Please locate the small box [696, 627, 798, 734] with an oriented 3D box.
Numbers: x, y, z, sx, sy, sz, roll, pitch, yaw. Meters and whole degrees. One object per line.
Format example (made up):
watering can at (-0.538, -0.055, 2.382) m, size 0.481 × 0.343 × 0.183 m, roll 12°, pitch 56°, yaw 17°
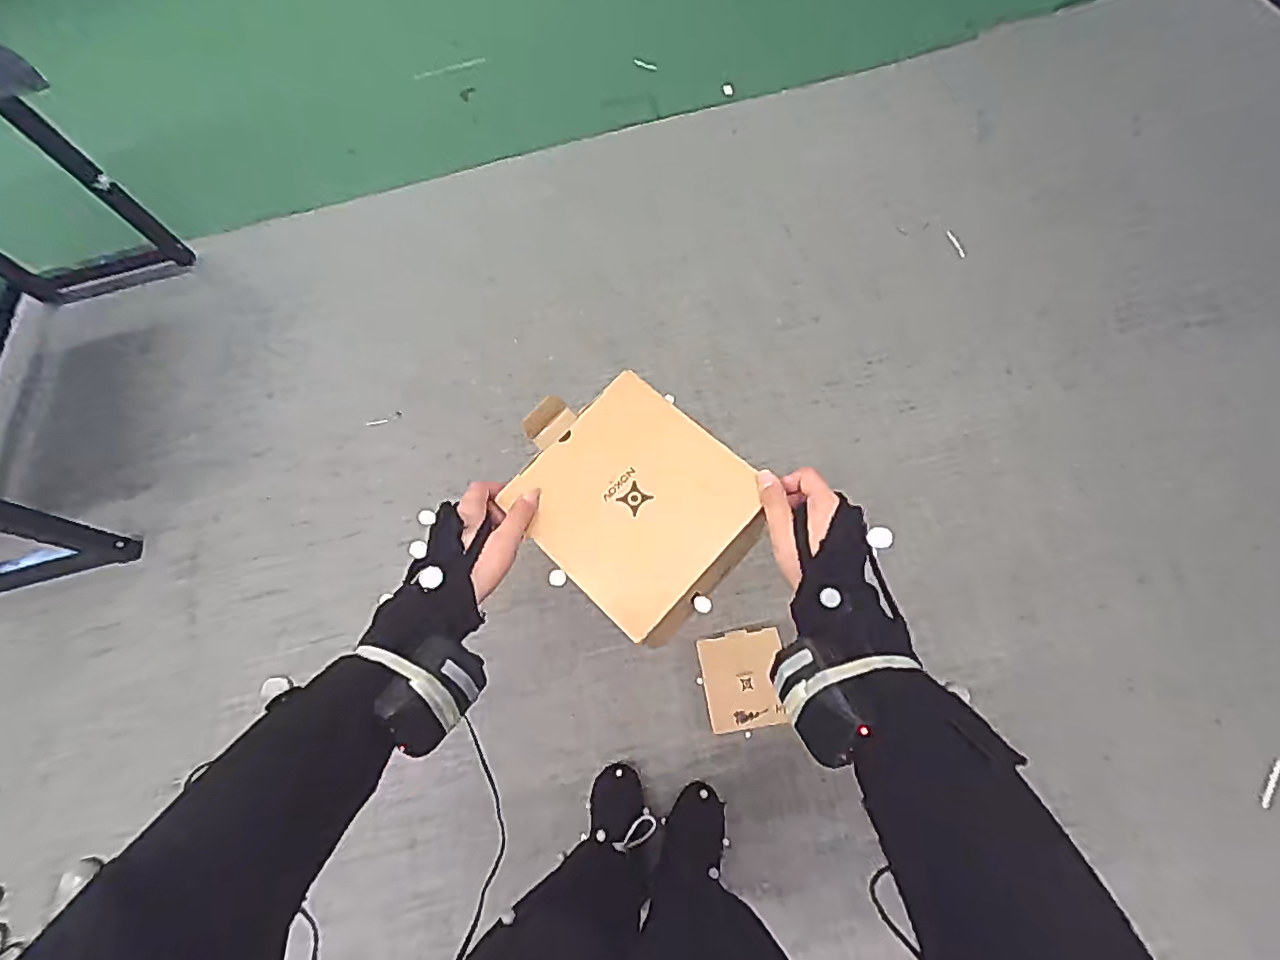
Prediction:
small box at (0.210, 0.415, 1.111) m, size 0.168 × 0.176 × 0.179 m, roll -11°, pitch 65°, yaw 2°
